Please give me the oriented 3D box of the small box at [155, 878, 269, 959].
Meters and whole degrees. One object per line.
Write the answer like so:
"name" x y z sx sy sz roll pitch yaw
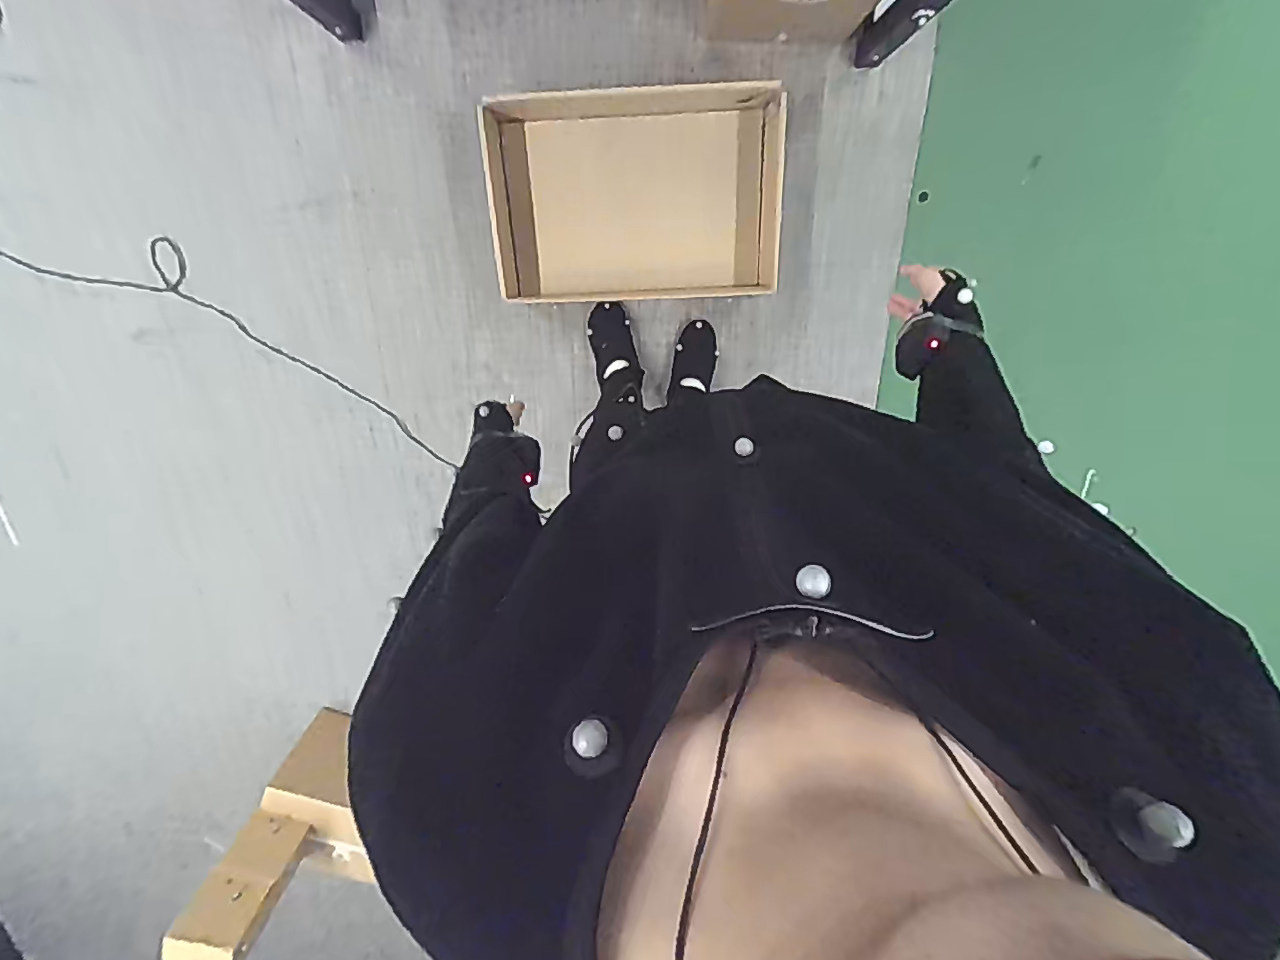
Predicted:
"small box" -1.088 1.172 1.381 0.168 0.176 0.179 18 109 -7
